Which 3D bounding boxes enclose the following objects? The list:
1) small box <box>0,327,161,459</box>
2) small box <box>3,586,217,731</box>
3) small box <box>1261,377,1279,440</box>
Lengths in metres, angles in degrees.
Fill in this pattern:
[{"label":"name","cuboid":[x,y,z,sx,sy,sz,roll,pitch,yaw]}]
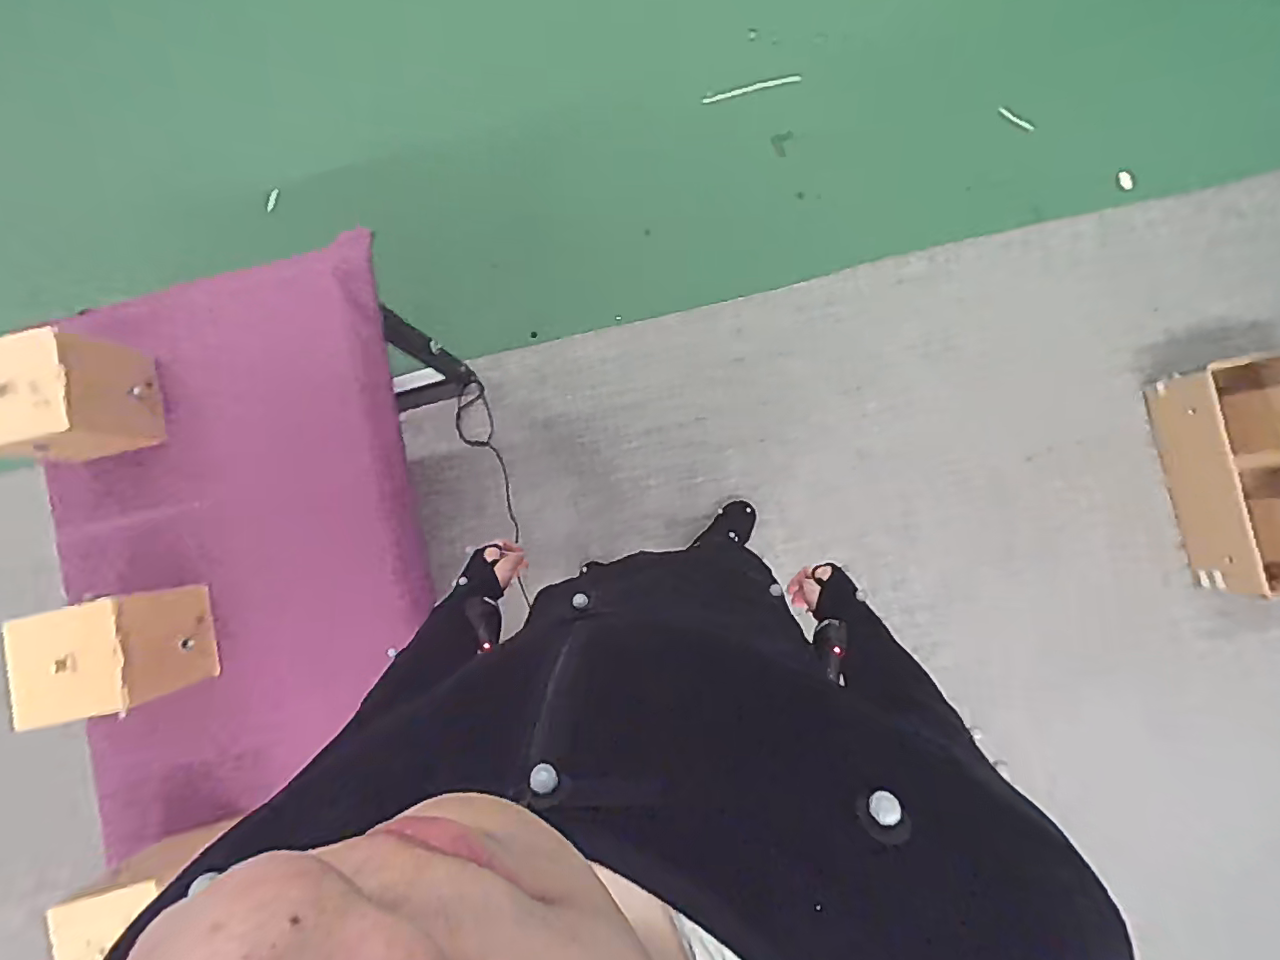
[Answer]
[{"label":"small box","cuboid":[-0.962,-0.134,0.897,0.179,0.176,0.168,-12,88,2]},{"label":"small box","cuboid":[-0.841,0.277,0.873,0.179,0.176,0.168,-13,86,1]},{"label":"small box","cuboid":[1.672,-0.196,1.285,0.179,0.176,0.168,-14,86,2]}]
